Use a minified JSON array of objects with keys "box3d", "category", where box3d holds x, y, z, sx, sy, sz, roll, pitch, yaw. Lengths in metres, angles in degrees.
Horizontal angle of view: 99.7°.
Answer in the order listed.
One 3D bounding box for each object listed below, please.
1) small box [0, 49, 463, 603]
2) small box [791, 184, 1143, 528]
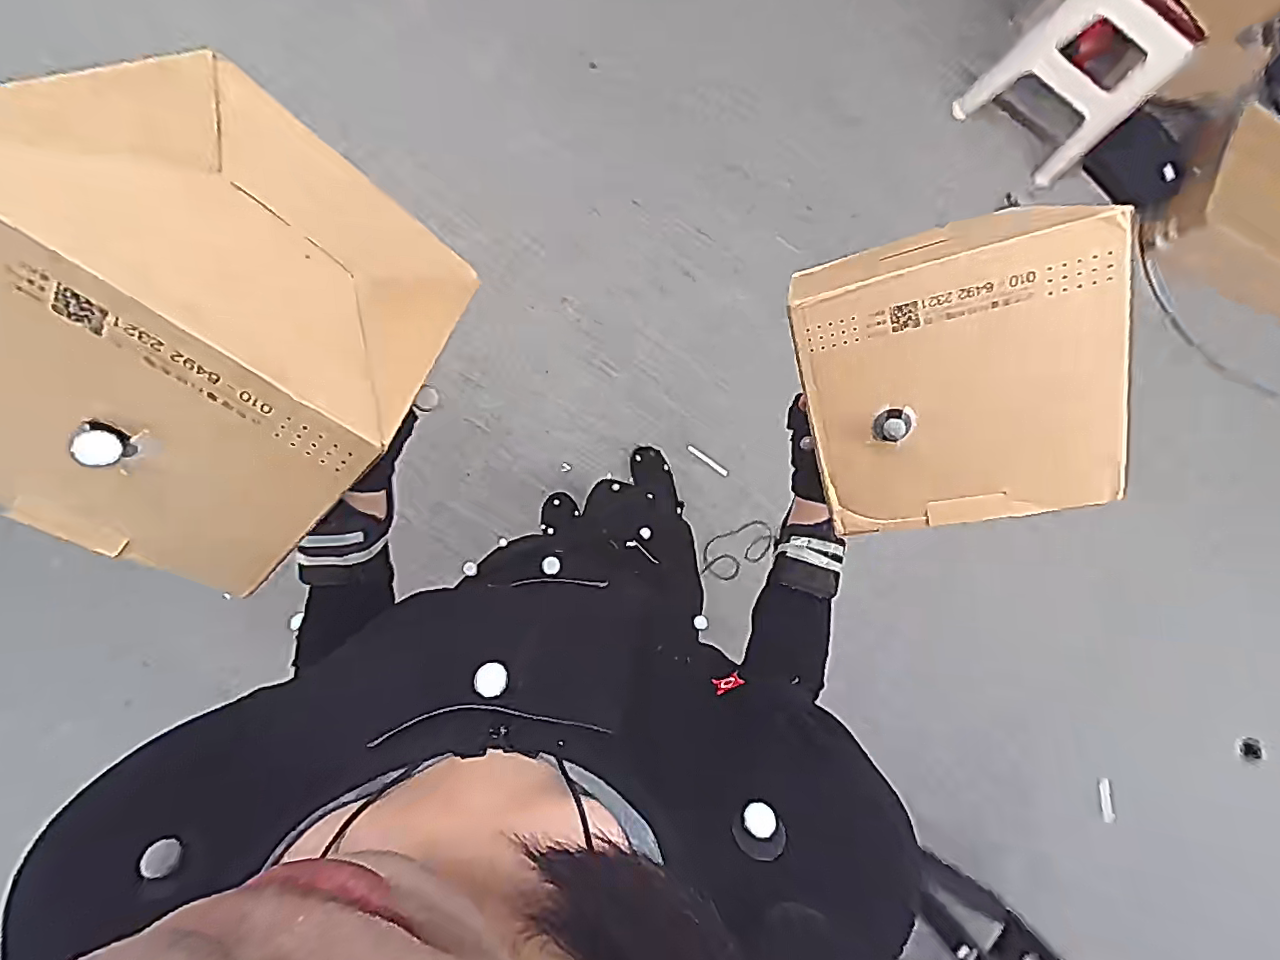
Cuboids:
[{"box3d":[-0.219,-0.074,0.277,0.176,0.179,0.168,-37,123,27],"category":"small box"},{"box3d":[0.205,-0.091,0.380,0.168,0.179,0.176,-11,113,20],"category":"small box"}]
